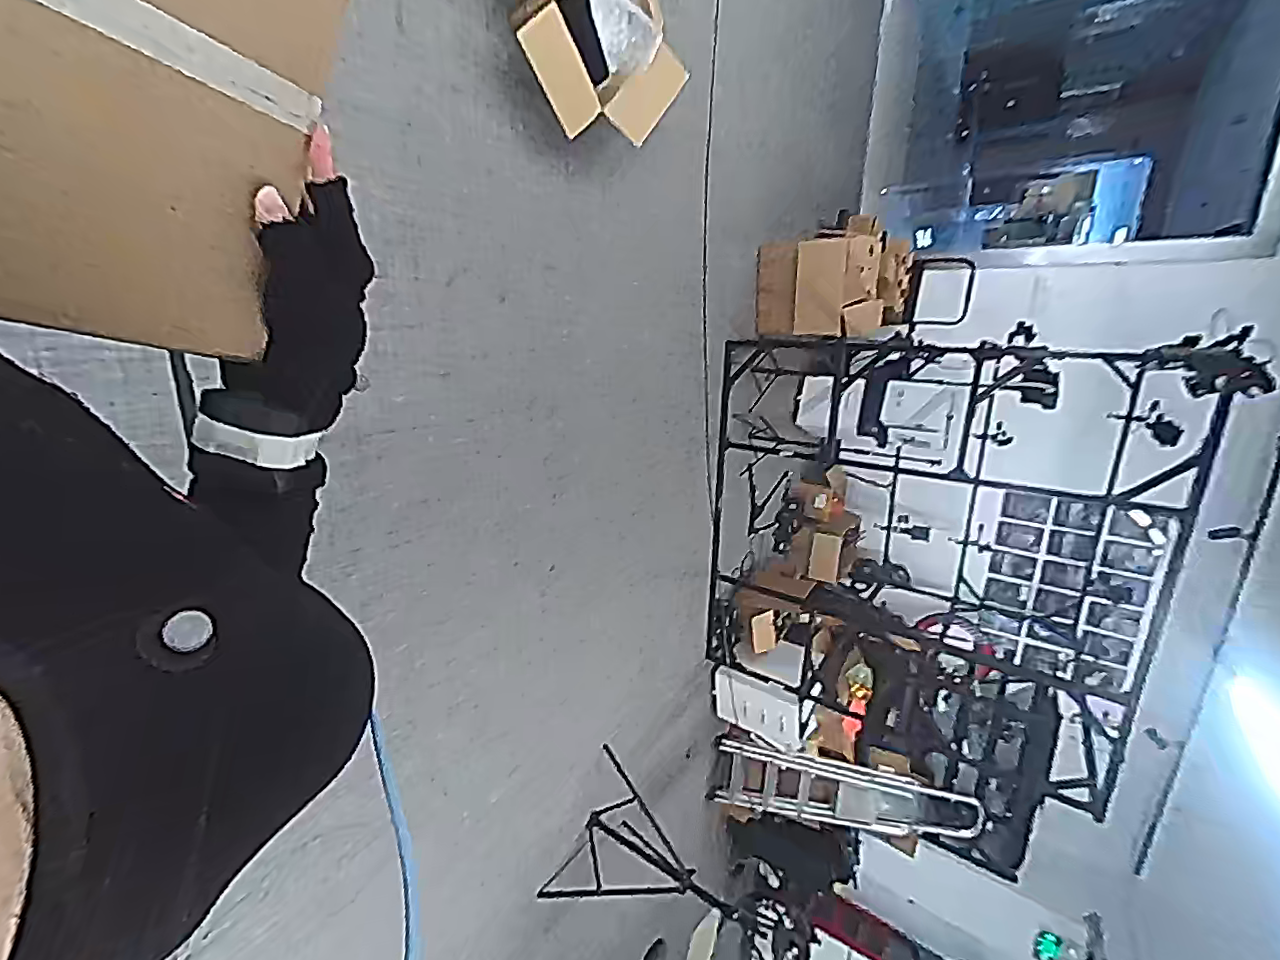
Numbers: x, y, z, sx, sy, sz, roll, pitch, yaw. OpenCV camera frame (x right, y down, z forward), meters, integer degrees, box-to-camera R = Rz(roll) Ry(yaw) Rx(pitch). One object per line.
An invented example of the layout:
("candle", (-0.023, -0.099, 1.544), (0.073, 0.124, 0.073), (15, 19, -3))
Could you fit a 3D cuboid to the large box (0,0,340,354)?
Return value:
("large box", (-0.422, -0.294, 0.255), (0.408, 0.320, 0.320), (4, 117, -51))
